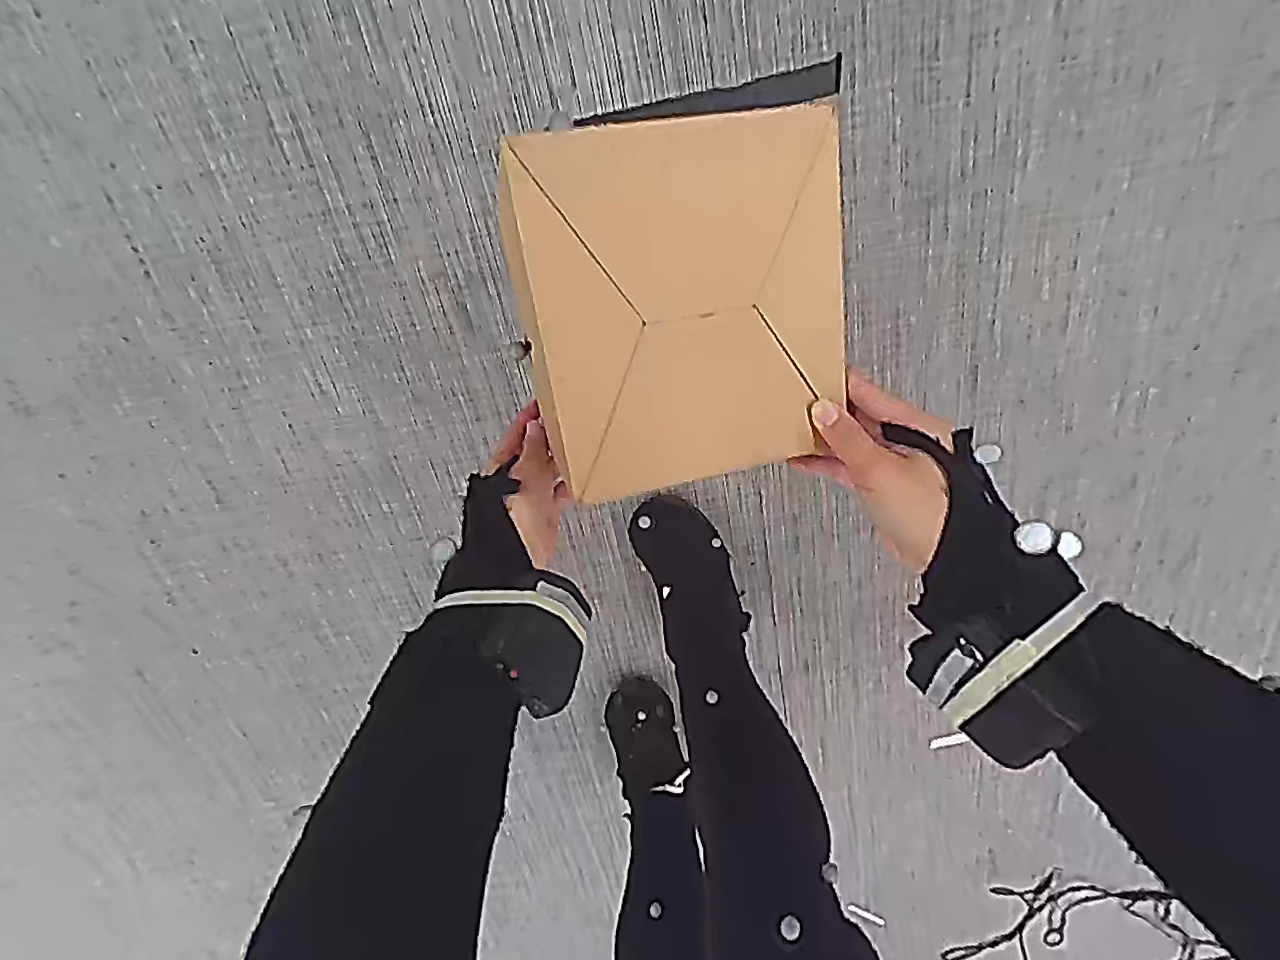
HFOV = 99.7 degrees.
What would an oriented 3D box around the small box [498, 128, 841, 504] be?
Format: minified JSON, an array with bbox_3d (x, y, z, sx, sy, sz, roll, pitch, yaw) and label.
[{"bbox_3d":[0.011,-0.104,0.353,0.168,0.176,0.179,-13,109,-12],"label":"small box"}]
